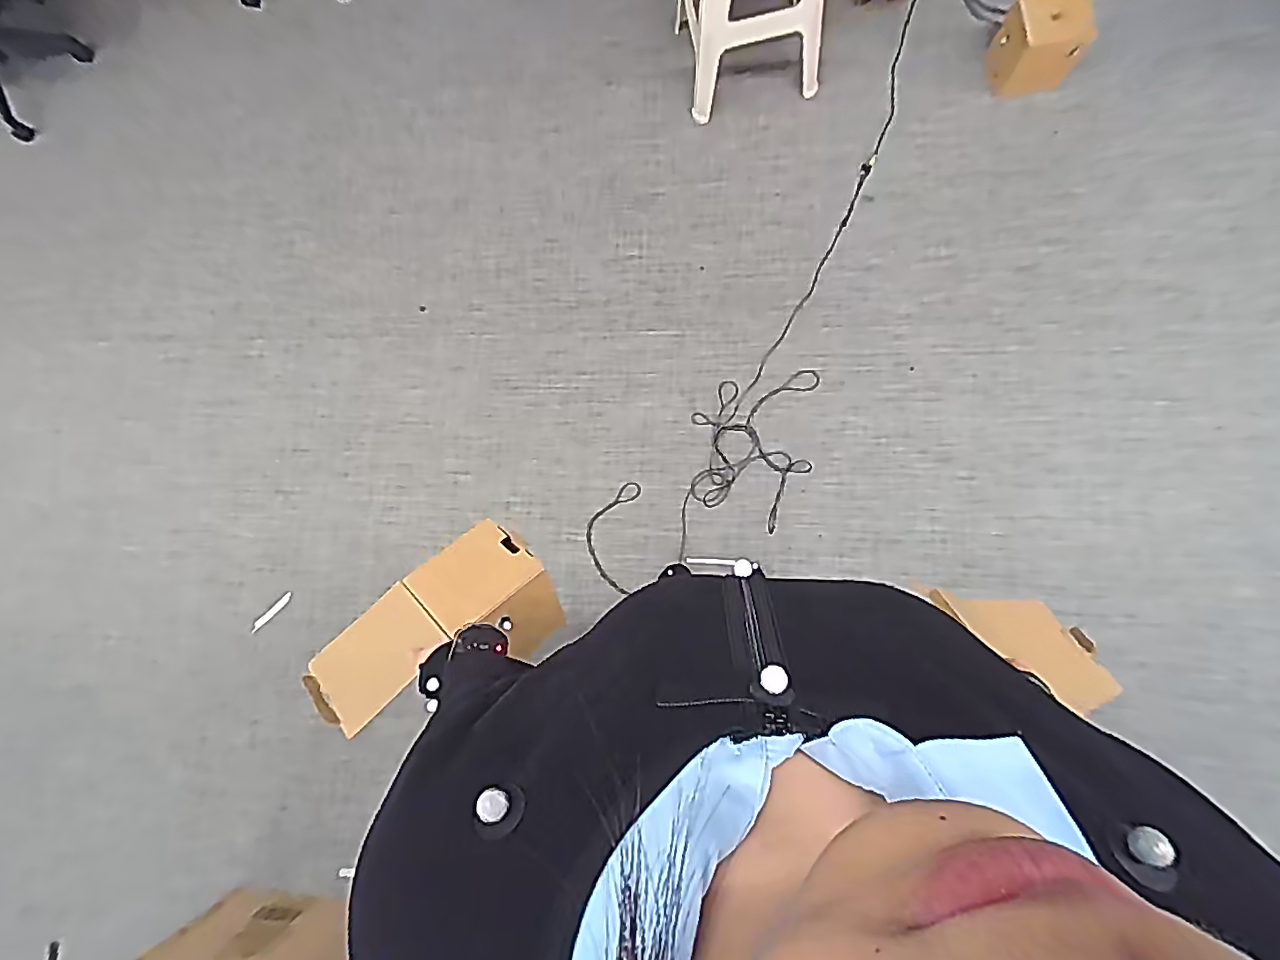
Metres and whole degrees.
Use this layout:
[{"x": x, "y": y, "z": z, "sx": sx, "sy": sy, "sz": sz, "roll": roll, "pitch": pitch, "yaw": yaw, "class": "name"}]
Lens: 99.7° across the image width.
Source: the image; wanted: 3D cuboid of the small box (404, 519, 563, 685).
[{"x": -0.254, "y": 0.206, "z": 0.911, "sx": 0.179, "sy": 0.176, "sz": 0.168, "roll": -38, "pitch": 50, "yaw": -27, "class": "small box"}]
